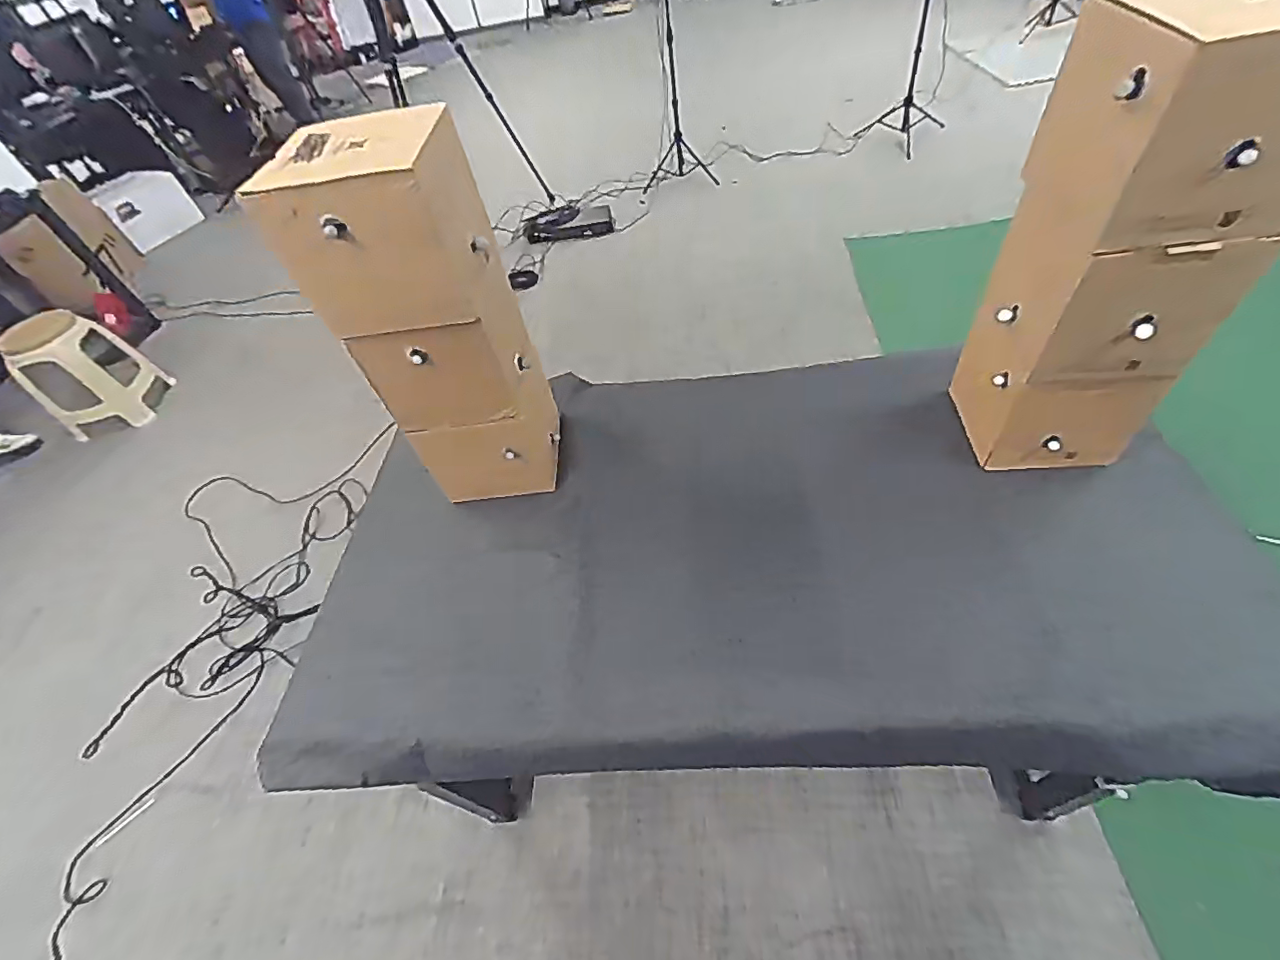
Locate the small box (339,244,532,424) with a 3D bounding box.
[{"bbox_3d":[-0.260,-0.192,0.736,0.179,0.176,0.168,-6,52,4],"label":"small box"}]

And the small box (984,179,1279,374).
[{"bbox_3d":[0.532,-0.236,0.621,0.168,0.176,0.179,-2,52,9],"label":"small box"}]

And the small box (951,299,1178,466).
[{"bbox_3d":[0.560,-0.138,0.750,0.168,0.176,0.179,-3,52,9],"label":"small box"}]

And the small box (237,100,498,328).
[{"bbox_3d":[-0.279,-0.287,0.602,0.179,0.176,0.168,-5,52,5],"label":"small box"}]

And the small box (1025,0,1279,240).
[{"bbox_3d":[0.501,-0.338,0.495,0.168,0.176,0.179,-3,51,8],"label":"small box"}]
